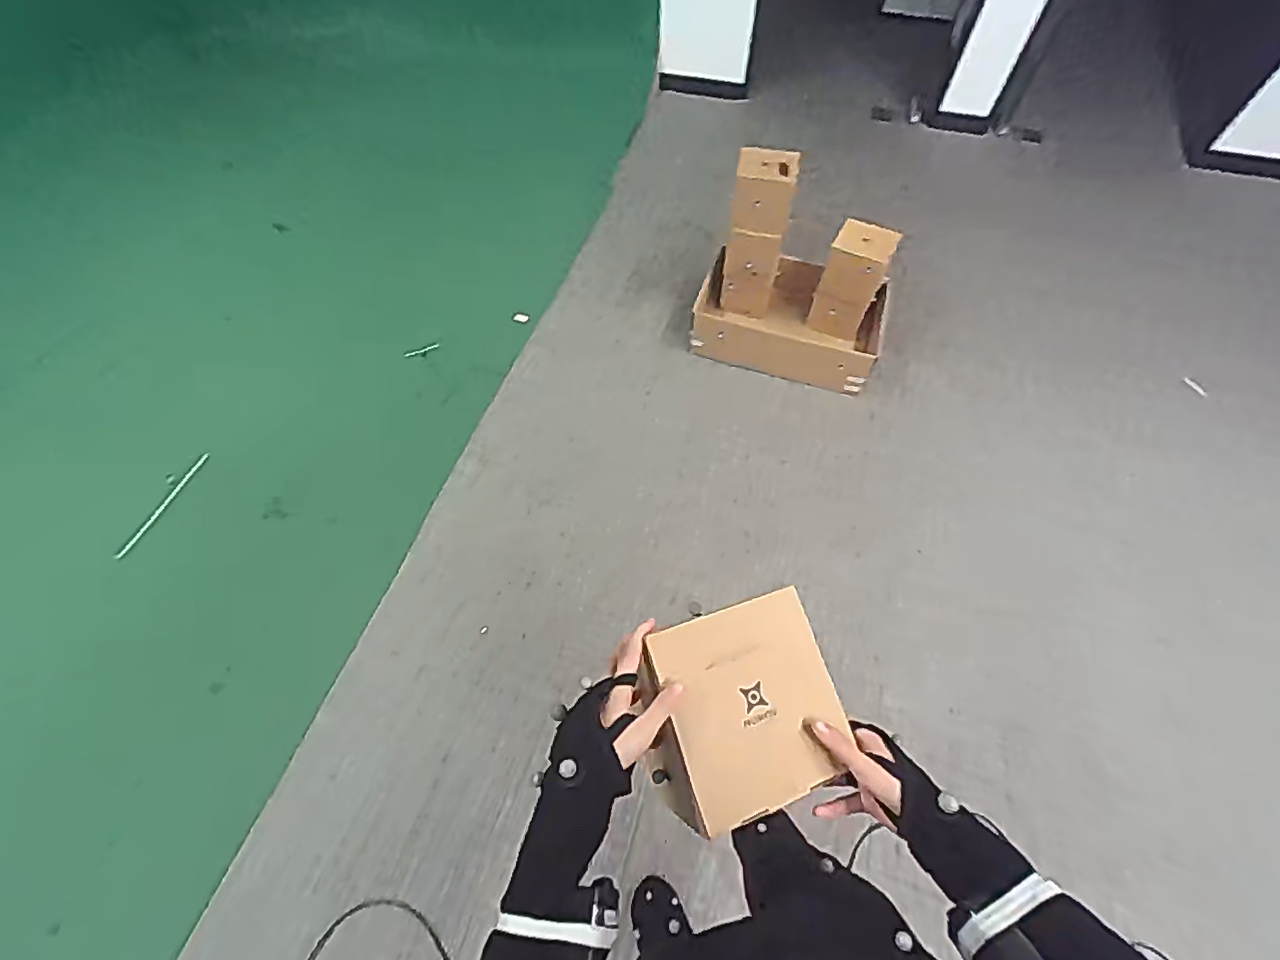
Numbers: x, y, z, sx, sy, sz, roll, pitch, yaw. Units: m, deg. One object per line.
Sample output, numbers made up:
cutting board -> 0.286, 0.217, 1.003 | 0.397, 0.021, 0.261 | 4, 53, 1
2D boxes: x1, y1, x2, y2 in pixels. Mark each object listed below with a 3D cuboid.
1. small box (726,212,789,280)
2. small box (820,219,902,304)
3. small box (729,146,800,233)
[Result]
small box -> 0.387, -0.799, 1.799 | 0.168, 0.176, 0.179 | 13, 61, 9
small box -> 0.704, -0.699, 1.741 | 0.179, 0.176, 0.168 | 26, 64, 15
small box -> 0.380, -0.887, 1.660 | 0.179, 0.176, 0.168 | 10, 60, 8
